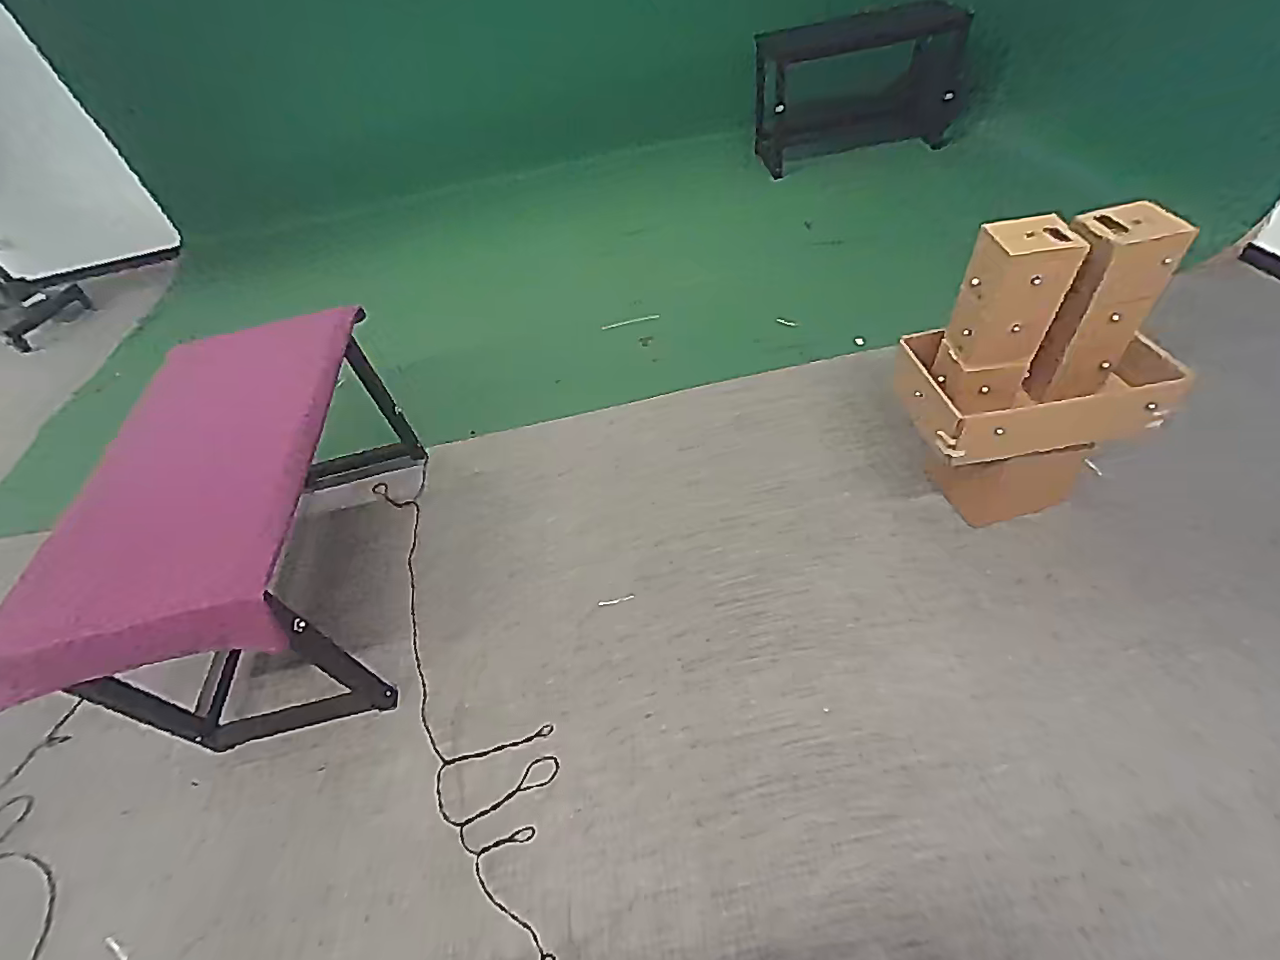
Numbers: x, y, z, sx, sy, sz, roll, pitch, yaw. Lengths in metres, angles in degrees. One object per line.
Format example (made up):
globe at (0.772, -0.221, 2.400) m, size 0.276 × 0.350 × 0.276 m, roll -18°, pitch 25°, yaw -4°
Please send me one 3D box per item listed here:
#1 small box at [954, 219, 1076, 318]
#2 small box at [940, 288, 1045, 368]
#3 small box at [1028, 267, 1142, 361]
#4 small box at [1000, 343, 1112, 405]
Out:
small box at (0.944, -0.536, 1.380) m, size 0.179 × 0.176 × 0.168 m, roll -6°, pitch 49°, yaw 5°
small box at (0.963, -0.428, 1.502) m, size 0.179 × 0.176 × 0.168 m, roll -5°, pitch 49°, yaw 4°
small box at (1.195, -0.452, 1.485) m, size 0.179 × 0.176 × 0.168 m, roll -13°, pitch 49°, yaw 2°
small box at (1.223, -0.348, 1.605) m, size 0.179 × 0.176 × 0.168 m, roll -11°, pitch 48°, yaw 2°
